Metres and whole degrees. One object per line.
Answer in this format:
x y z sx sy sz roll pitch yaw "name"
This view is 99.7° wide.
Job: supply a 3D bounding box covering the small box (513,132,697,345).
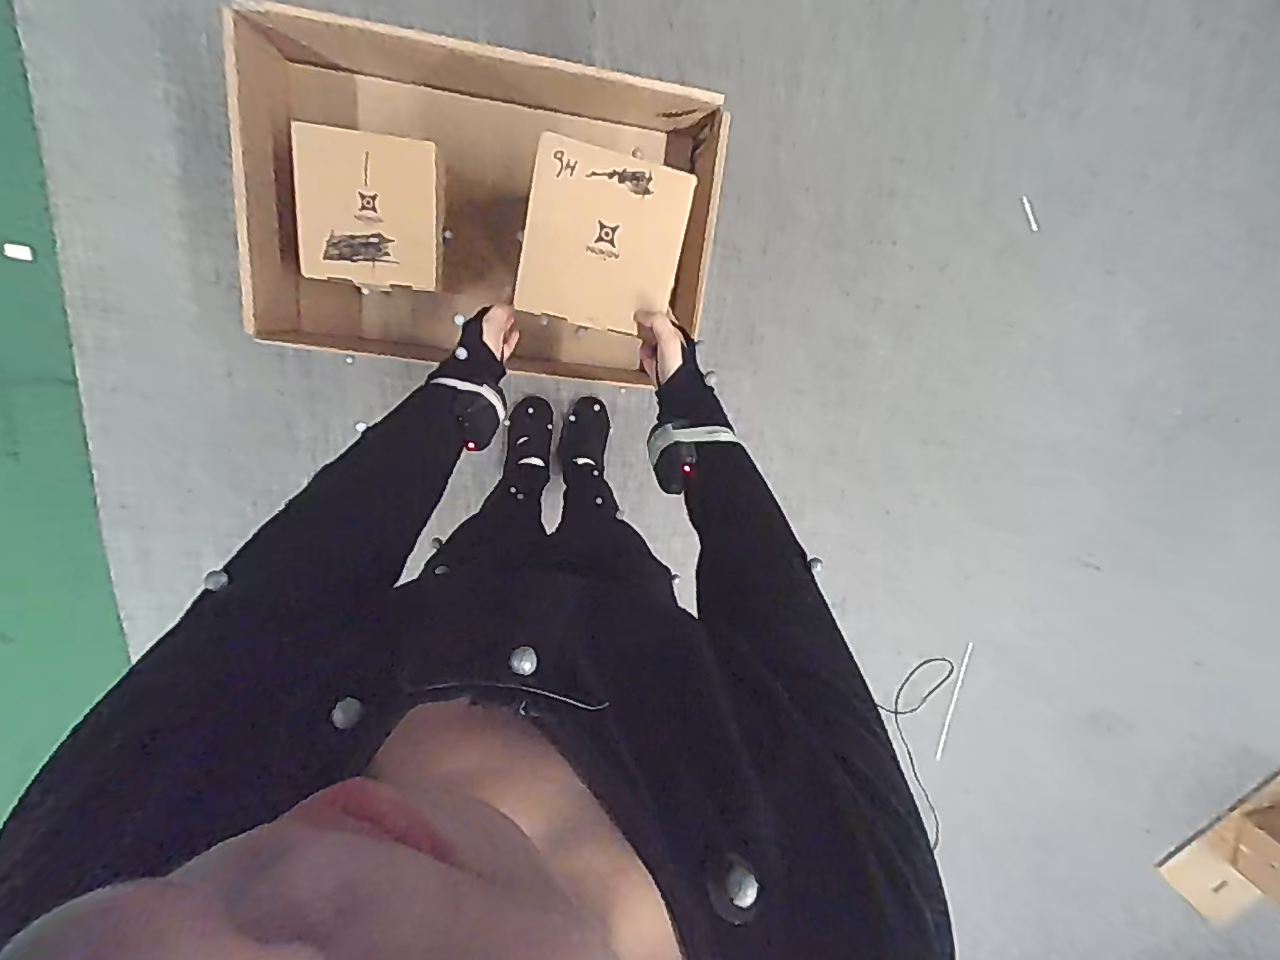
-0.047 -0.272 0.646 0.168 0.176 0.179 11 106 -11 "small box"
